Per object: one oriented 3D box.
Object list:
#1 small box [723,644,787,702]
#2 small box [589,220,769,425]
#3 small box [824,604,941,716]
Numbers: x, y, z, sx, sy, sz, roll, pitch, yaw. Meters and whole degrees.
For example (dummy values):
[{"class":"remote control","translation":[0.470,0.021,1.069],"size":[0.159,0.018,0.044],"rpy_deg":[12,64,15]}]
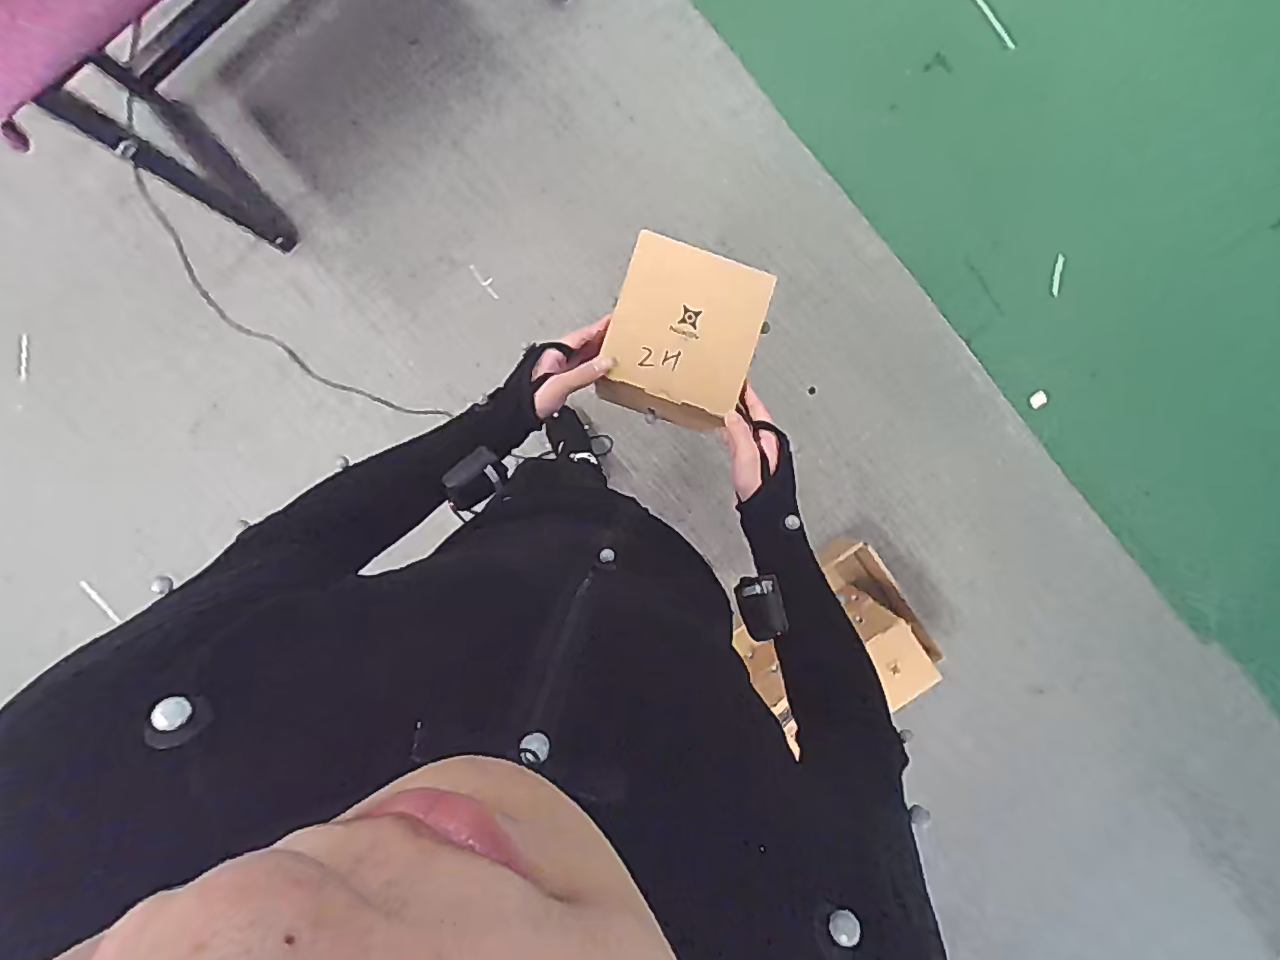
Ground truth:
[{"class":"small box","translation":[0.356,0.592,1.512],"size":[0.168,0.176,0.179],"rpy_deg":[-35,91,-1]},{"class":"small box","translation":[0.038,-0.181,0.676],"size":[0.168,0.176,0.179],"rpy_deg":[17,89,-3]},{"class":"small box","translation":[0.594,0.438,1.346],"size":[0.168,0.176,0.179],"rpy_deg":[-35,92,2]}]
